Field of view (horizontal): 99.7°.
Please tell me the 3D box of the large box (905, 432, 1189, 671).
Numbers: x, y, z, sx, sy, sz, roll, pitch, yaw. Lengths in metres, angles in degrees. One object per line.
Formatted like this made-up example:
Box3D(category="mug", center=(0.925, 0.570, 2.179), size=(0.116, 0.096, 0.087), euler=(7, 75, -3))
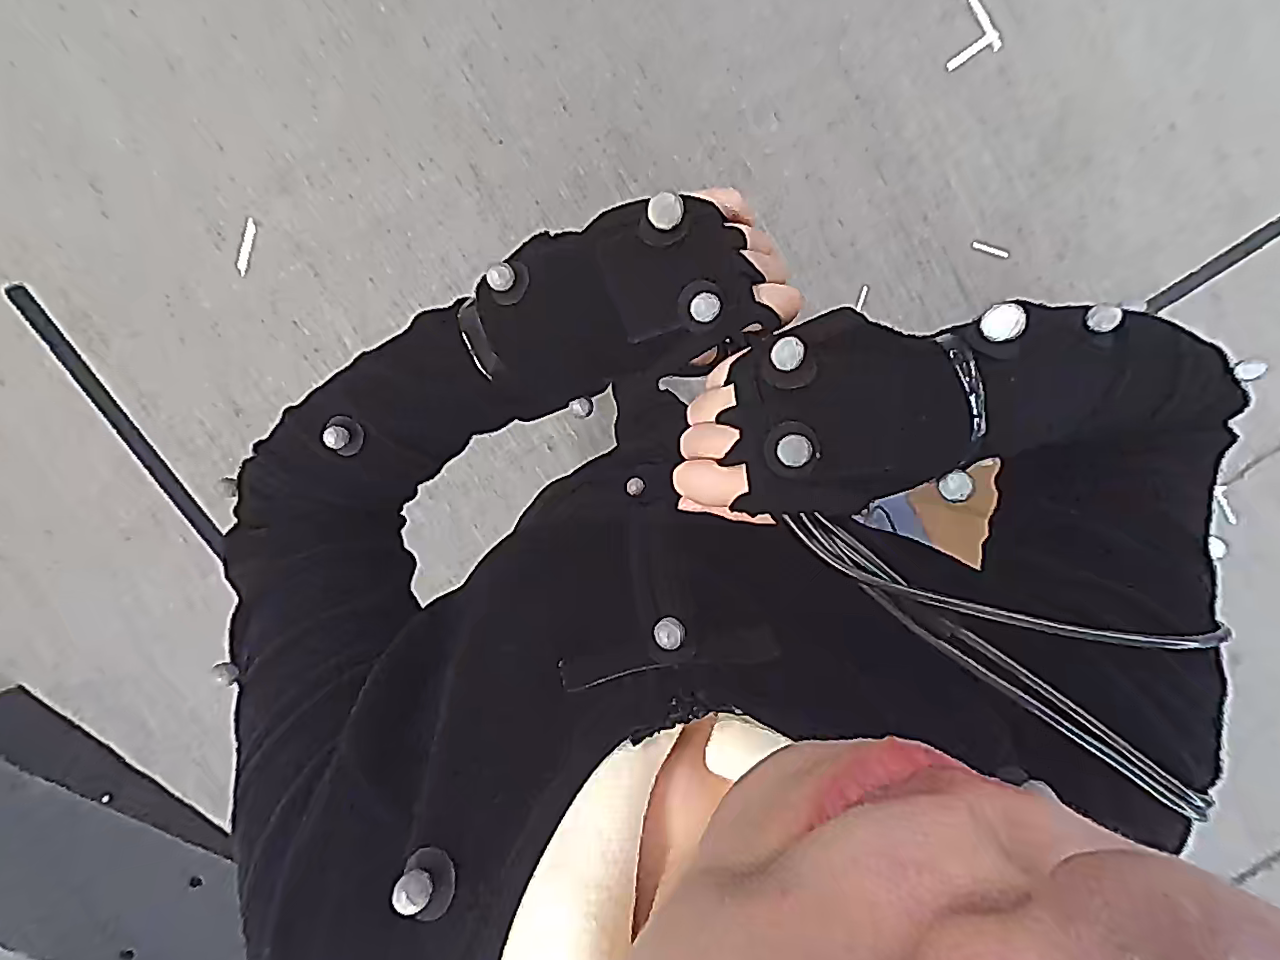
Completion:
Box3D(category="large box", center=(0.903, 0.138, 1.243), size=(0.320, 0.320, 0.408), euler=(-31, 99, 0))
